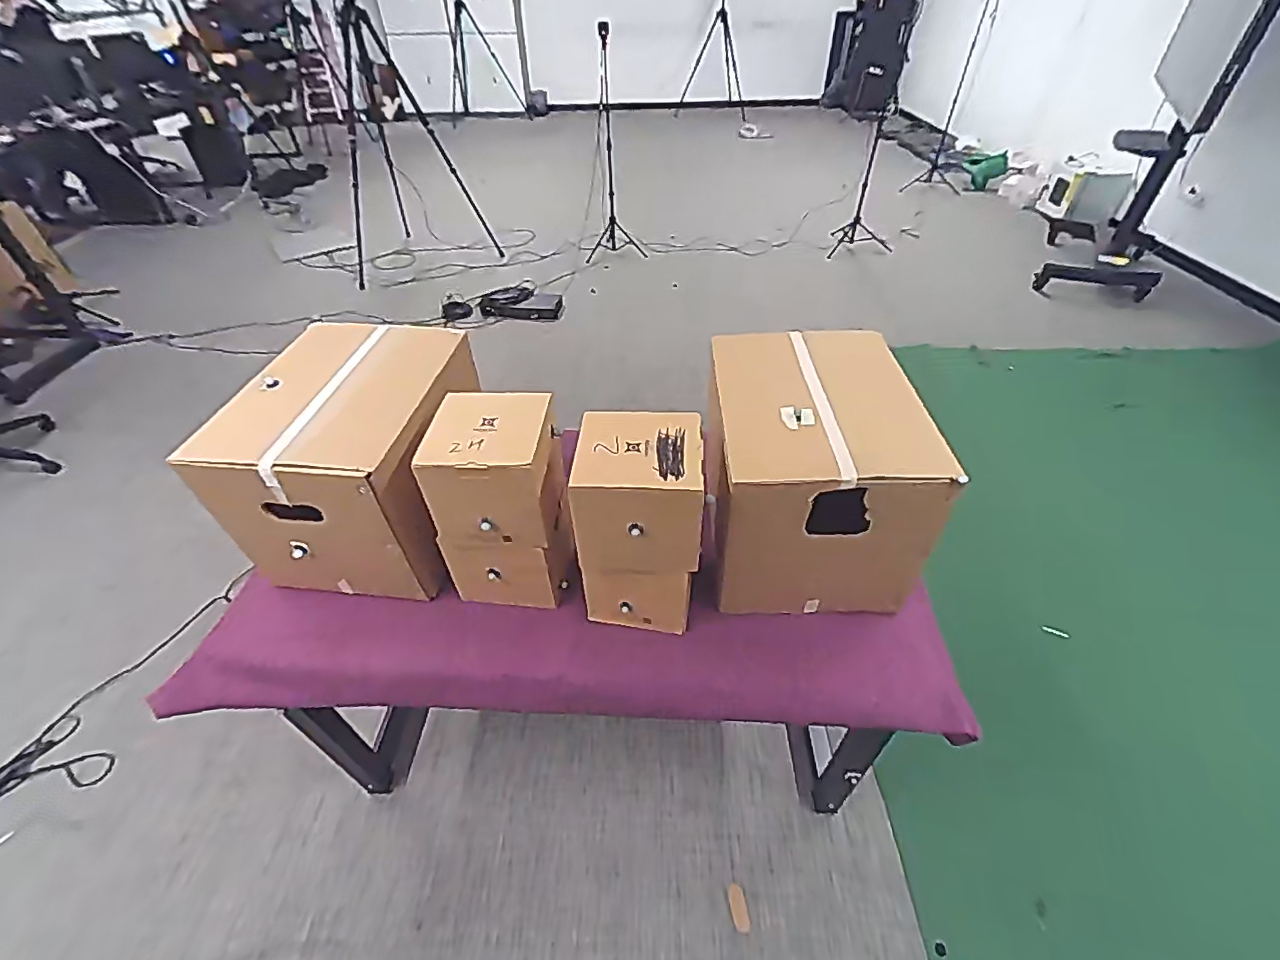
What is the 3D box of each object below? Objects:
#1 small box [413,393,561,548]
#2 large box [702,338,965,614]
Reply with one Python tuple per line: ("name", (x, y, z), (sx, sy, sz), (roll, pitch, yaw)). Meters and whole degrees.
("small box", (-0.220, -0.017, 0.836), (0.168, 0.176, 0.179), (0, 43, 3))
("large box", (0.286, -0.016, 0.965), (0.320, 0.320, 0.408), (-2, 43, 3))
